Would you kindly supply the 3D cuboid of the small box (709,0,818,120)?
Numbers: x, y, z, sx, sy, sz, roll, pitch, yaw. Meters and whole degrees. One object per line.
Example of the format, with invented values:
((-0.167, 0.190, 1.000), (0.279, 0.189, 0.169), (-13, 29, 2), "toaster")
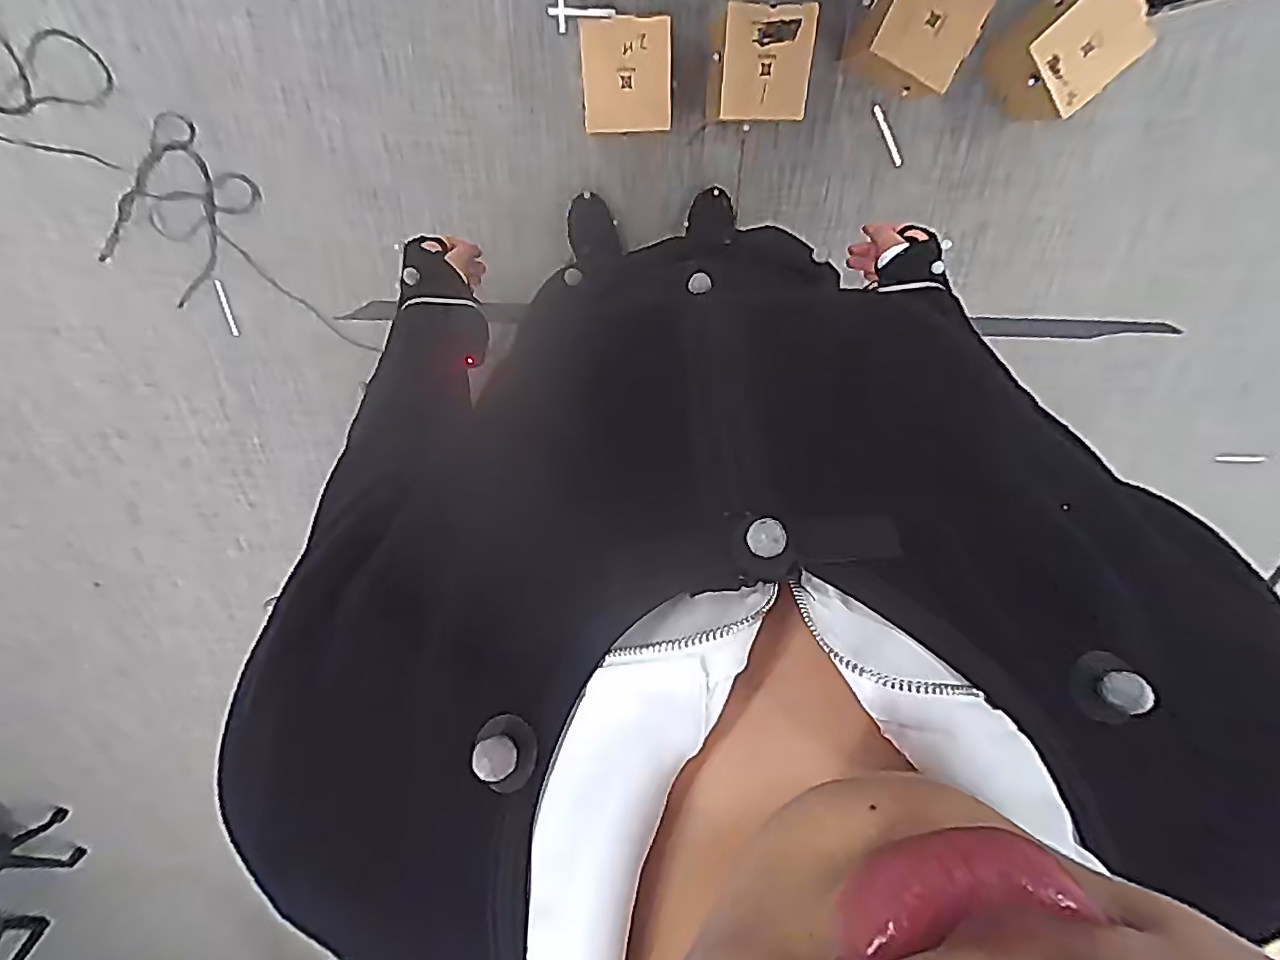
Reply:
((0.232, -0.820, 1.066), (0.168, 0.176, 0.179), (0, 123, -1), "small box")

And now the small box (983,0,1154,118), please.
((0.829, -0.853, 1.062), (0.168, 0.176, 0.179), (40, 113, -22), "small box")

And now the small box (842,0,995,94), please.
((0.527, -0.875, 1.042), (0.179, 0.176, 0.168), (19, 118, -12), "small box")
